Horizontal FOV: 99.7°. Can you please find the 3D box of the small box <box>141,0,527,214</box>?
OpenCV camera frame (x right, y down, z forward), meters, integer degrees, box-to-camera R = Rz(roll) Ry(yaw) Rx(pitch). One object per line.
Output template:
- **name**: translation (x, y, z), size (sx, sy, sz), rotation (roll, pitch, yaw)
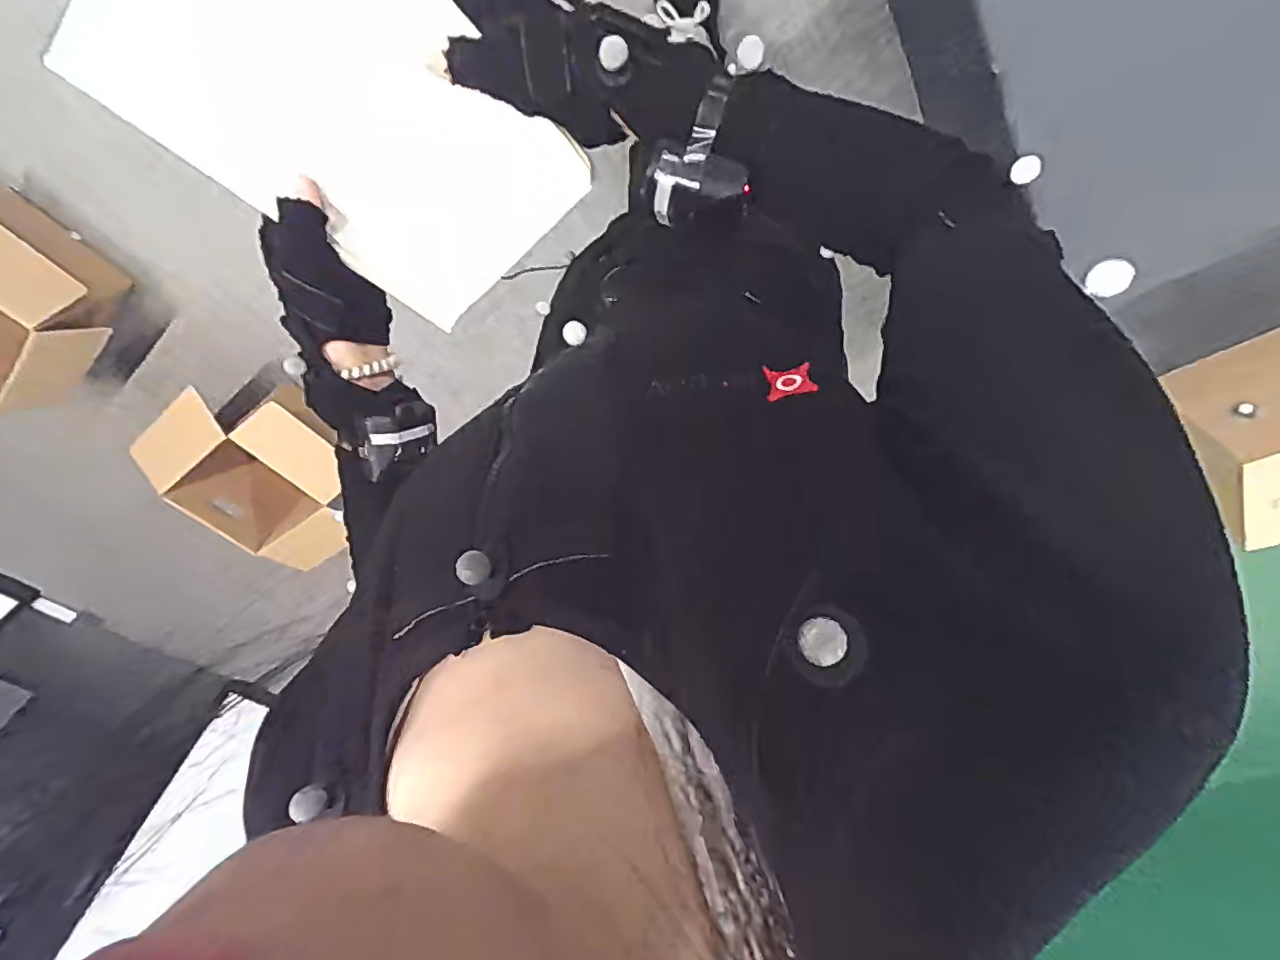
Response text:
- **small box**: translation (-0.209, -0.341, 0.405), size (0.168, 0.176, 0.179), rotation (-25, 126, 20)
